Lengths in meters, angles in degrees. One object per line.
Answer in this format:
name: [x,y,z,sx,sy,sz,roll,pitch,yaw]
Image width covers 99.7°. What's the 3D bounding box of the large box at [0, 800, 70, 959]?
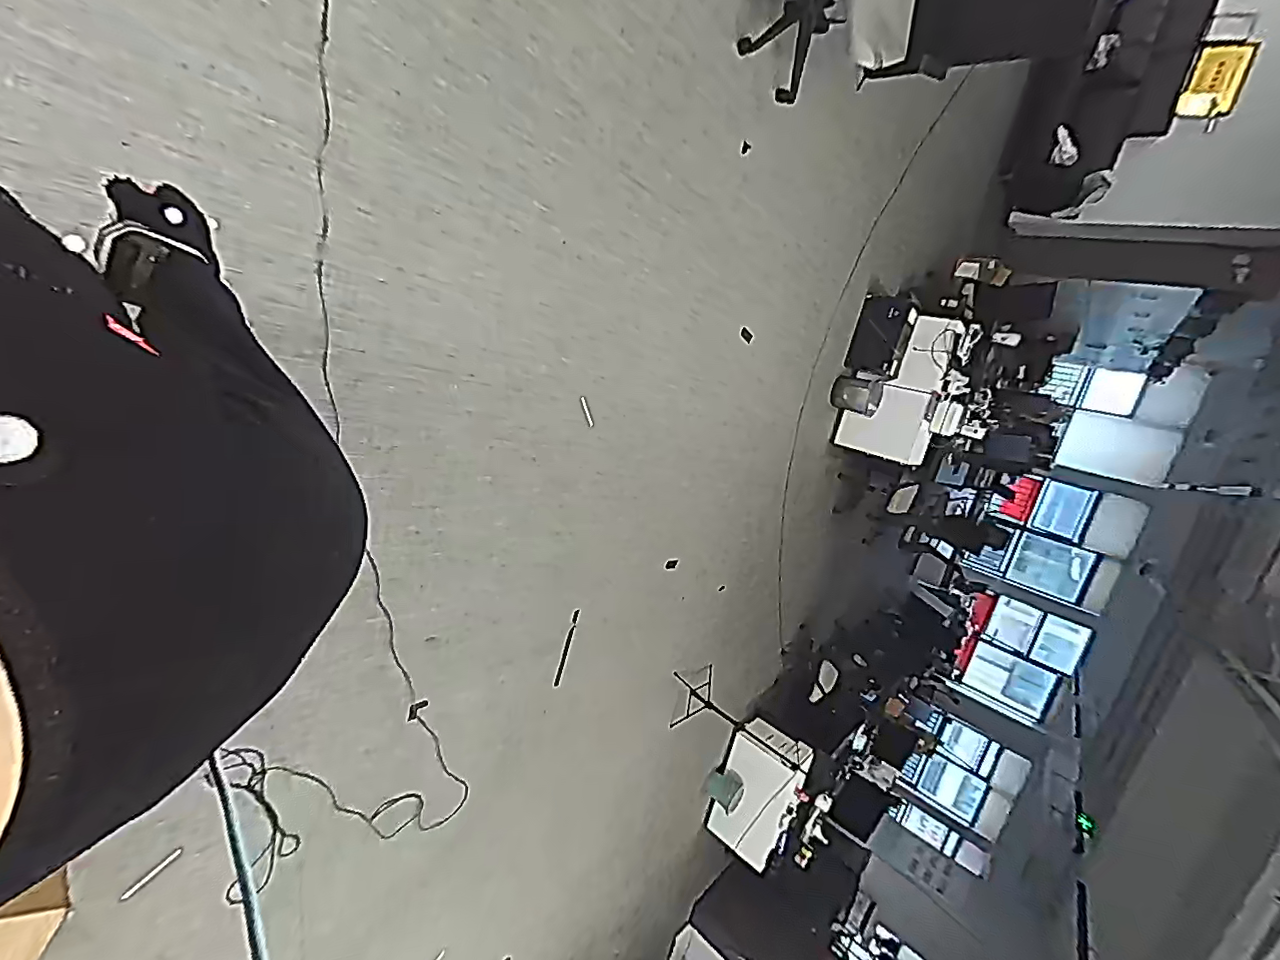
large box: [-1.414,0.842,0.986,0.320,0.320,0.408,-61,144,-8]
